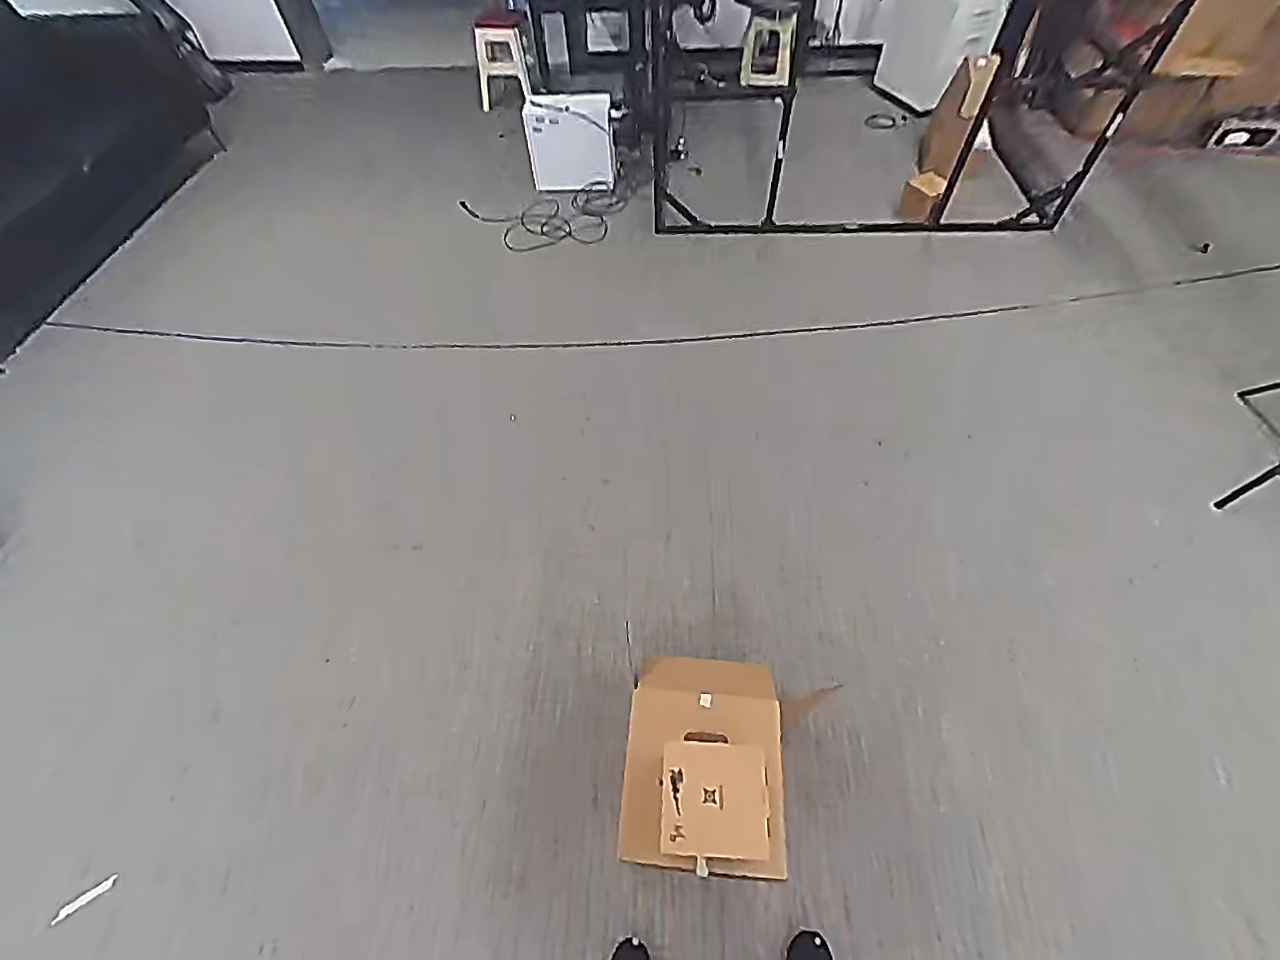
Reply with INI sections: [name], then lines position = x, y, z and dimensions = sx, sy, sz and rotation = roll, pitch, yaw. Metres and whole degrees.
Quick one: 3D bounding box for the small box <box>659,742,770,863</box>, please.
[small box]
position = 0.127, 0.577, 0.971
dimensions = 0.179, 0.176, 0.168
rotation = 2, 57, 4
